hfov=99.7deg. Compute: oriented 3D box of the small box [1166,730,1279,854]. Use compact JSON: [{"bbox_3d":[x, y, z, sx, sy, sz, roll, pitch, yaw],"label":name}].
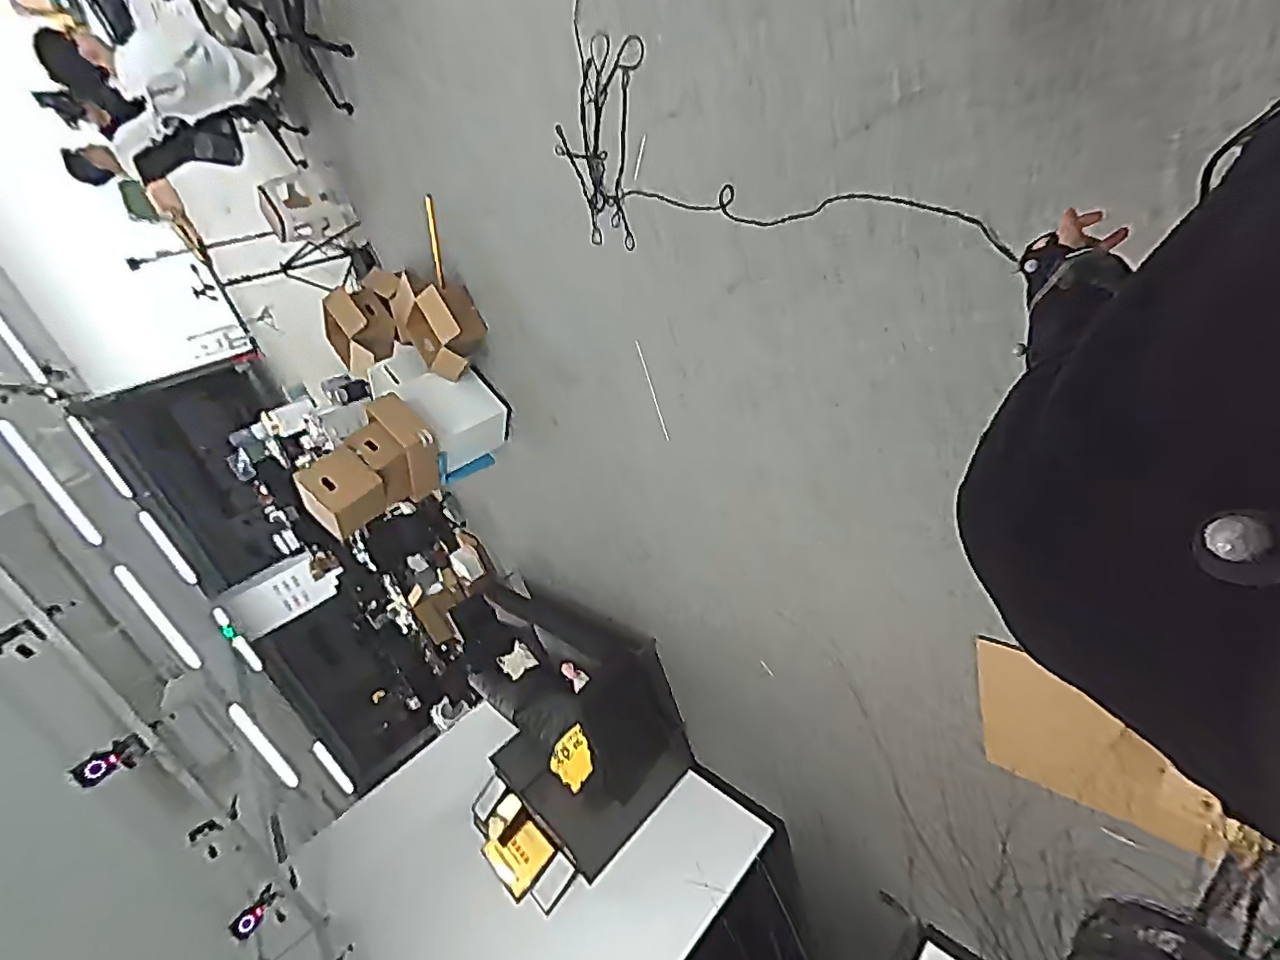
[{"bbox_3d":[1.477,0.780,1.371,0.168,0.176,0.179,16,130,47],"label":"small box"}]
